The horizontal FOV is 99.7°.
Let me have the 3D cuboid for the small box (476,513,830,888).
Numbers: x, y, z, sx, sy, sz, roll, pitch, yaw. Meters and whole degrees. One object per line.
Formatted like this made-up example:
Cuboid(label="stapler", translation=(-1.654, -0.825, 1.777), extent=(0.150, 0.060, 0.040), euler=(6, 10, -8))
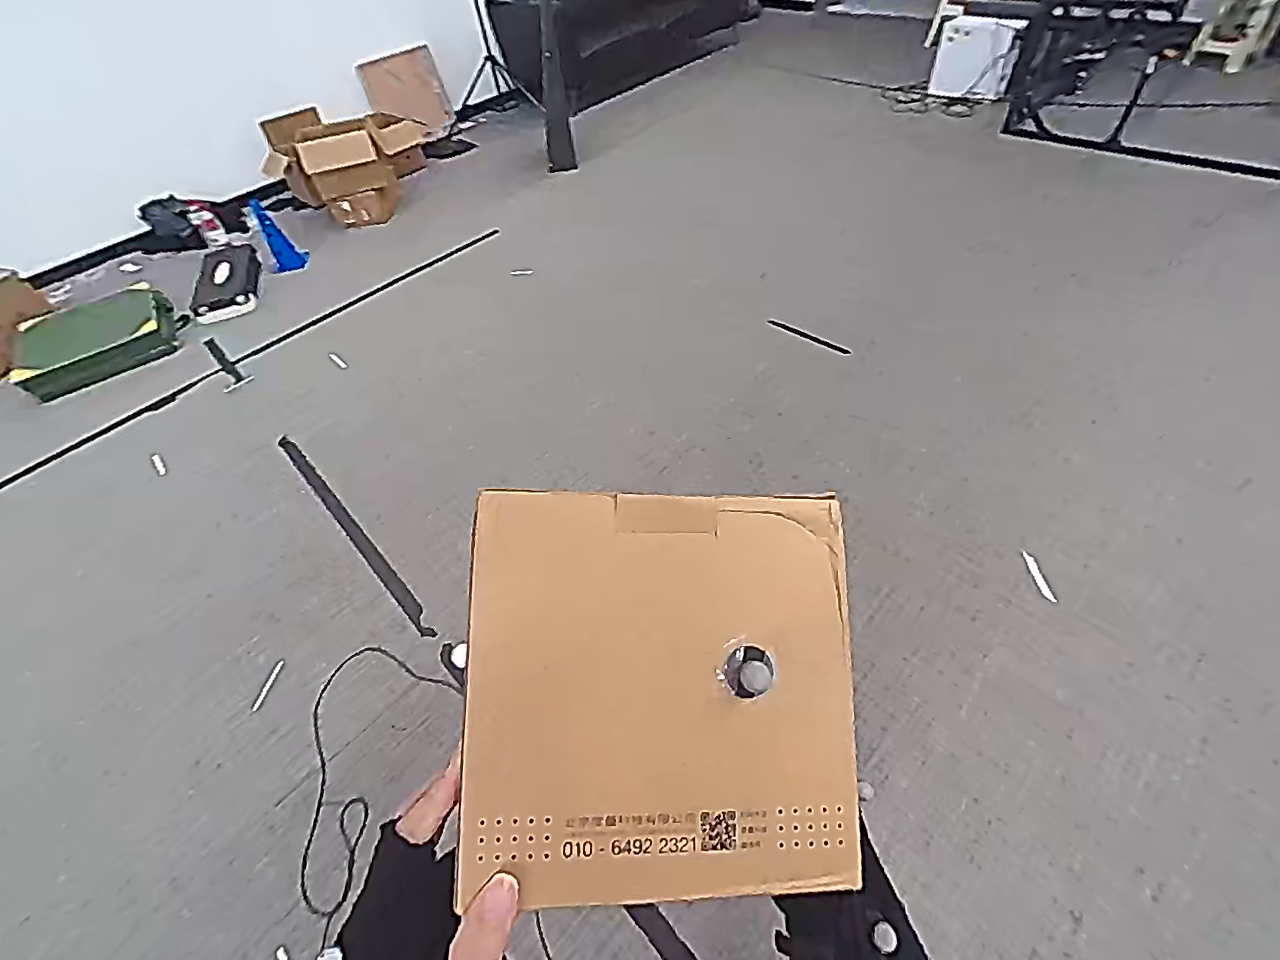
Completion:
Cuboid(label="small box", translation=(0.002, 0.111, 0.325), extent=(0.168, 0.179, 0.176), euler=(1, 81, -4))
